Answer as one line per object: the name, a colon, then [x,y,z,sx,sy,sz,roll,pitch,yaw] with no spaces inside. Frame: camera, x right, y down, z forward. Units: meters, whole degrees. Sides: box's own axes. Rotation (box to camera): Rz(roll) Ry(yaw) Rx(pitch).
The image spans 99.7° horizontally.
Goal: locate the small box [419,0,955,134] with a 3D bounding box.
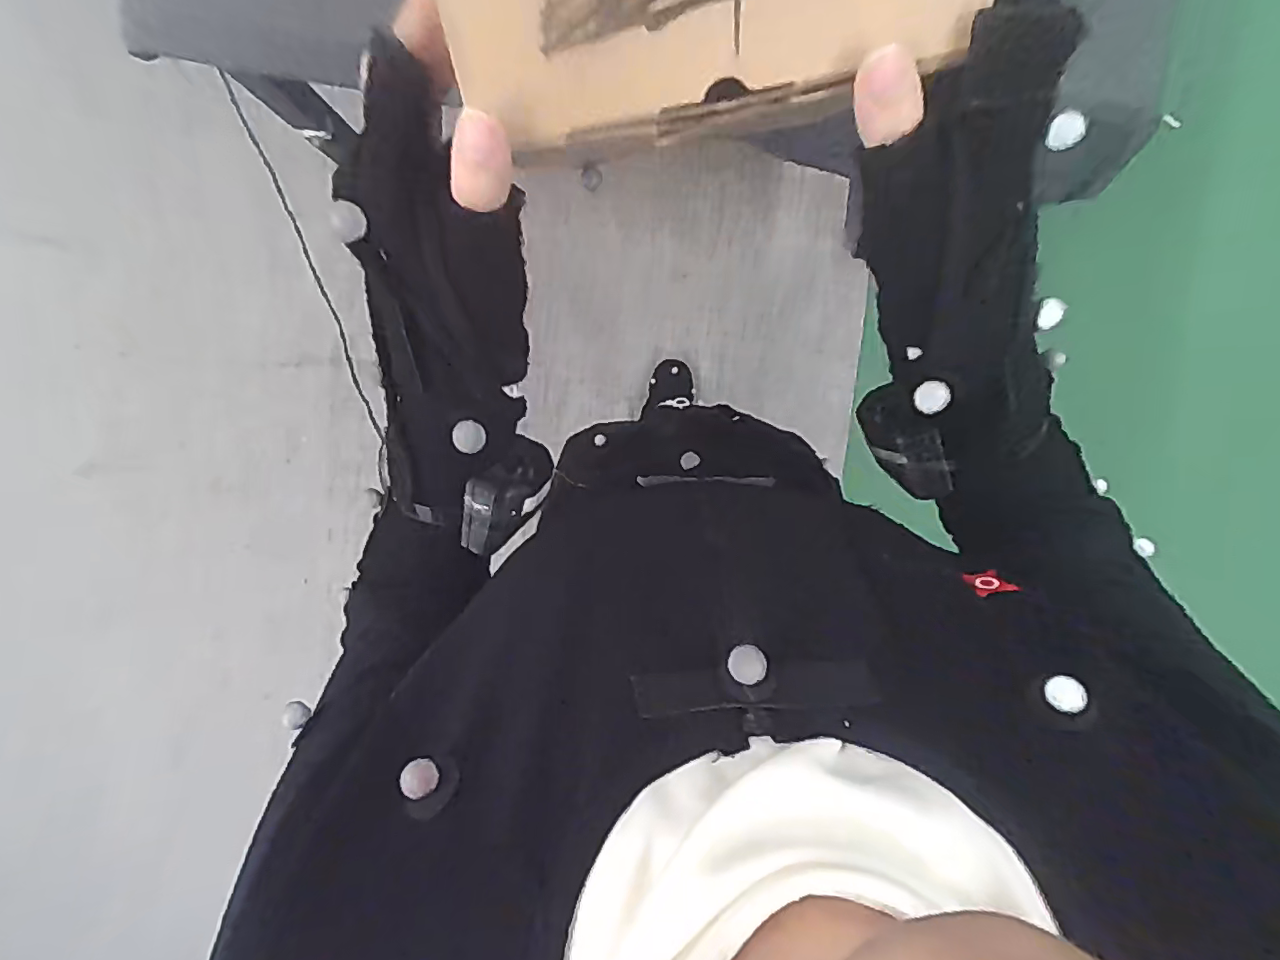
small box: [0.003,-0.243,0.199,0.168,0.176,0.179,-10,118,3]
